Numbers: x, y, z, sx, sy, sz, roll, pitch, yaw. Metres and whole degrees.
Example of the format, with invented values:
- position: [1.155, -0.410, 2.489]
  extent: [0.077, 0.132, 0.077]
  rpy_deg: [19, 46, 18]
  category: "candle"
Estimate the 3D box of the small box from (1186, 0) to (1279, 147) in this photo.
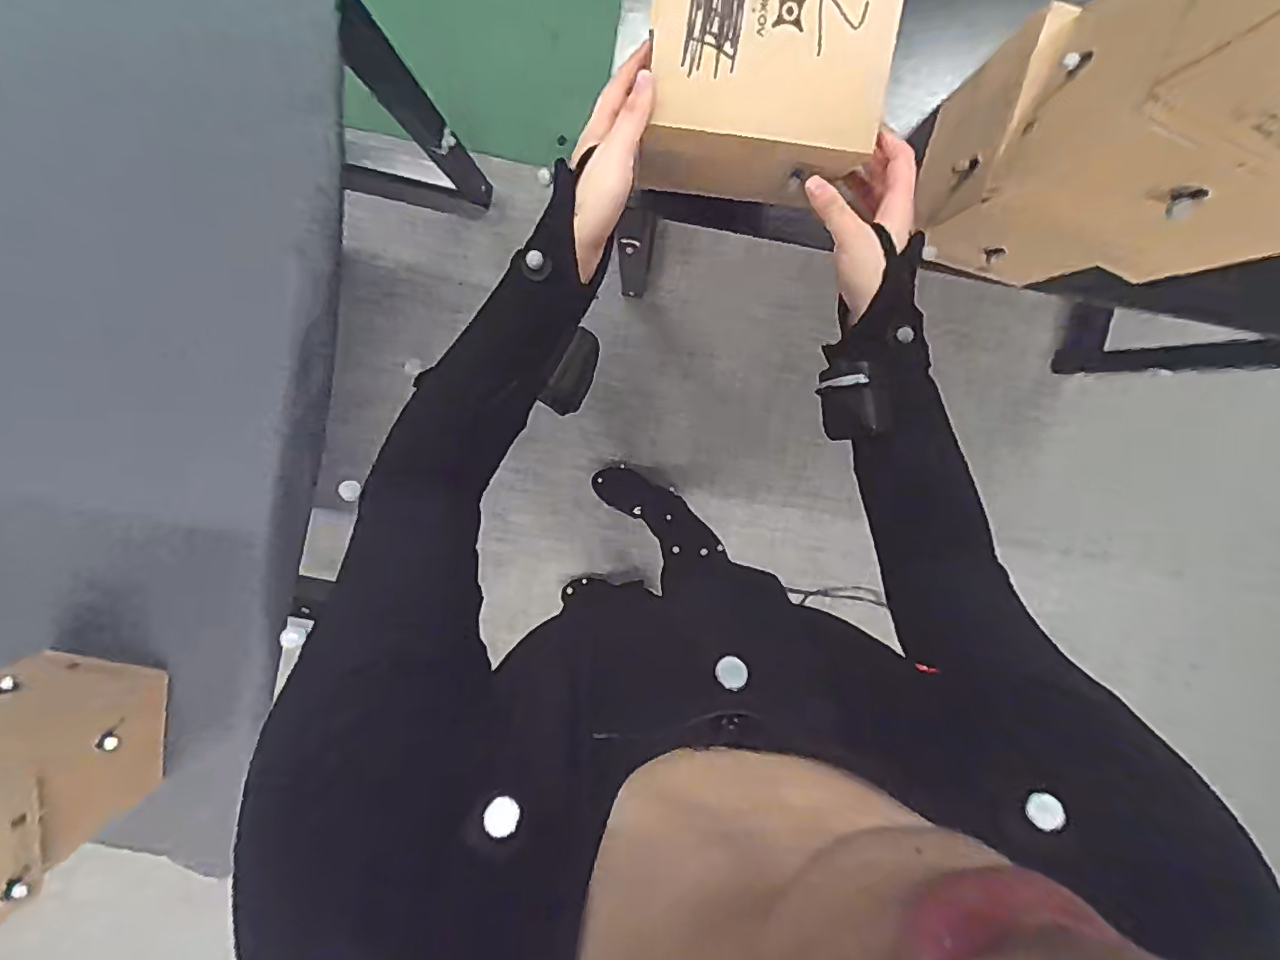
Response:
- position: [0.423, -0.262, 0.243]
  extent: [0.168, 0.176, 0.179]
  rpy_deg: [26, 100, -4]
  category: "small box"

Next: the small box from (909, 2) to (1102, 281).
- position: [0.414, -0.325, 0.563]
  extent: [0.168, 0.176, 0.179]
  rpy_deg: [15, 99, -4]
  category: "small box"

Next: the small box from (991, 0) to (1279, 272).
- position: [0.424, -0.274, 0.407]
  extent: [0.179, 0.176, 0.168]
  rpy_deg: [23, 99, -4]
  category: "small box"

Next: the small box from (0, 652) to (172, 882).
- position: [-0.727, 0.336, 0.666]
  extent: [0.168, 0.176, 0.179]
  rpy_deg: [11, 100, 0]
  category: "small box"
